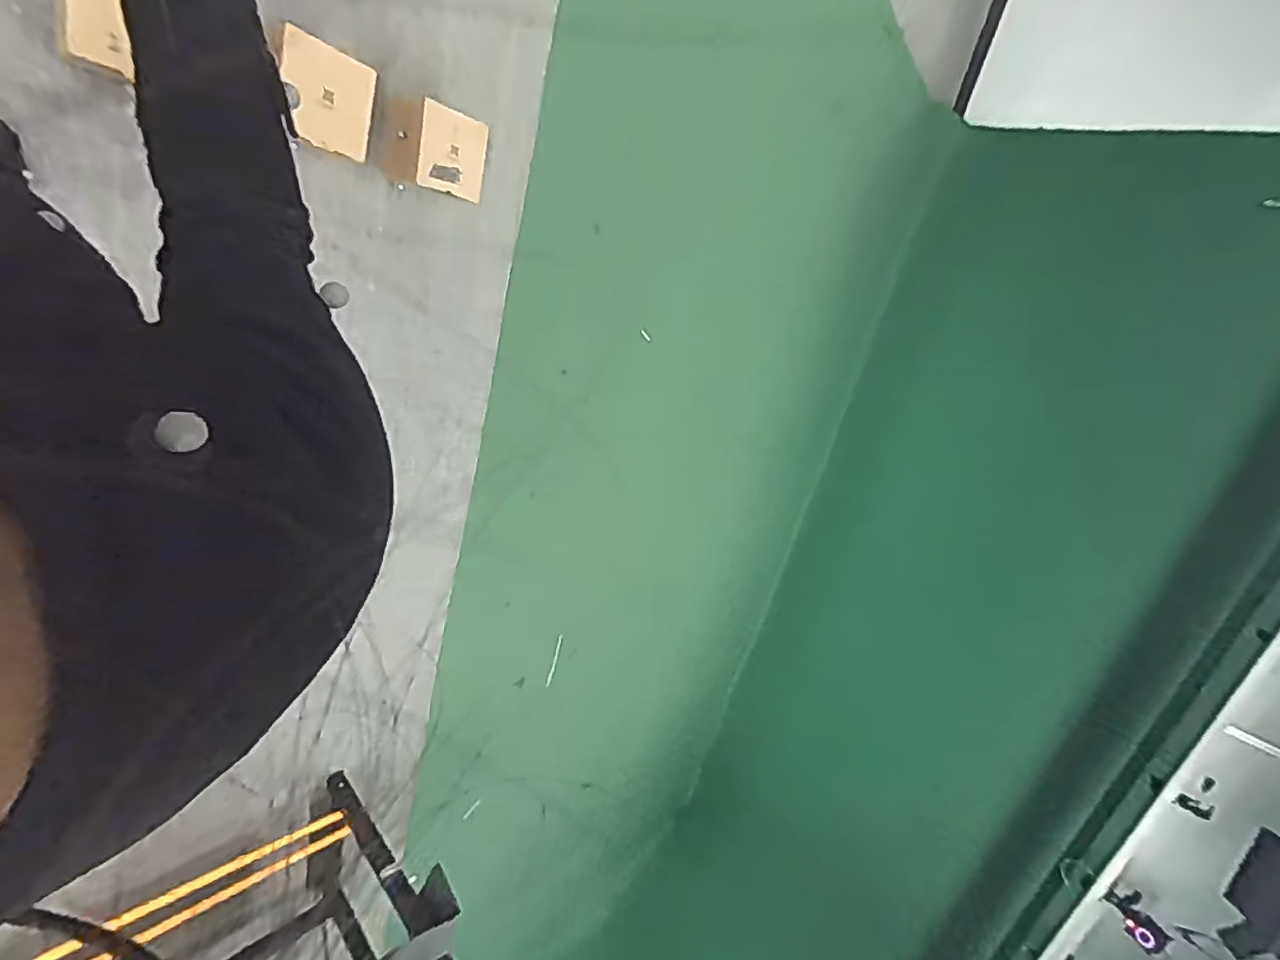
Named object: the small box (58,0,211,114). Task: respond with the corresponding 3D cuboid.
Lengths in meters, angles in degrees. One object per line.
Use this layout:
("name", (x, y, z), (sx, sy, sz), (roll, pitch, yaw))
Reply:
("small box", (-0.832, -0.736, 0.891), (0.168, 0.176, 0.179), (-5, 117, -49))

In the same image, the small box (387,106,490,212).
("small box", (-0.491, -0.770, 1.304), (0.168, 0.176, 0.179), (-8, 118, -49))

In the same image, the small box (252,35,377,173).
("small box", (-0.663, -0.754, 1.098), (0.168, 0.176, 0.179), (-4, 116, -51))
